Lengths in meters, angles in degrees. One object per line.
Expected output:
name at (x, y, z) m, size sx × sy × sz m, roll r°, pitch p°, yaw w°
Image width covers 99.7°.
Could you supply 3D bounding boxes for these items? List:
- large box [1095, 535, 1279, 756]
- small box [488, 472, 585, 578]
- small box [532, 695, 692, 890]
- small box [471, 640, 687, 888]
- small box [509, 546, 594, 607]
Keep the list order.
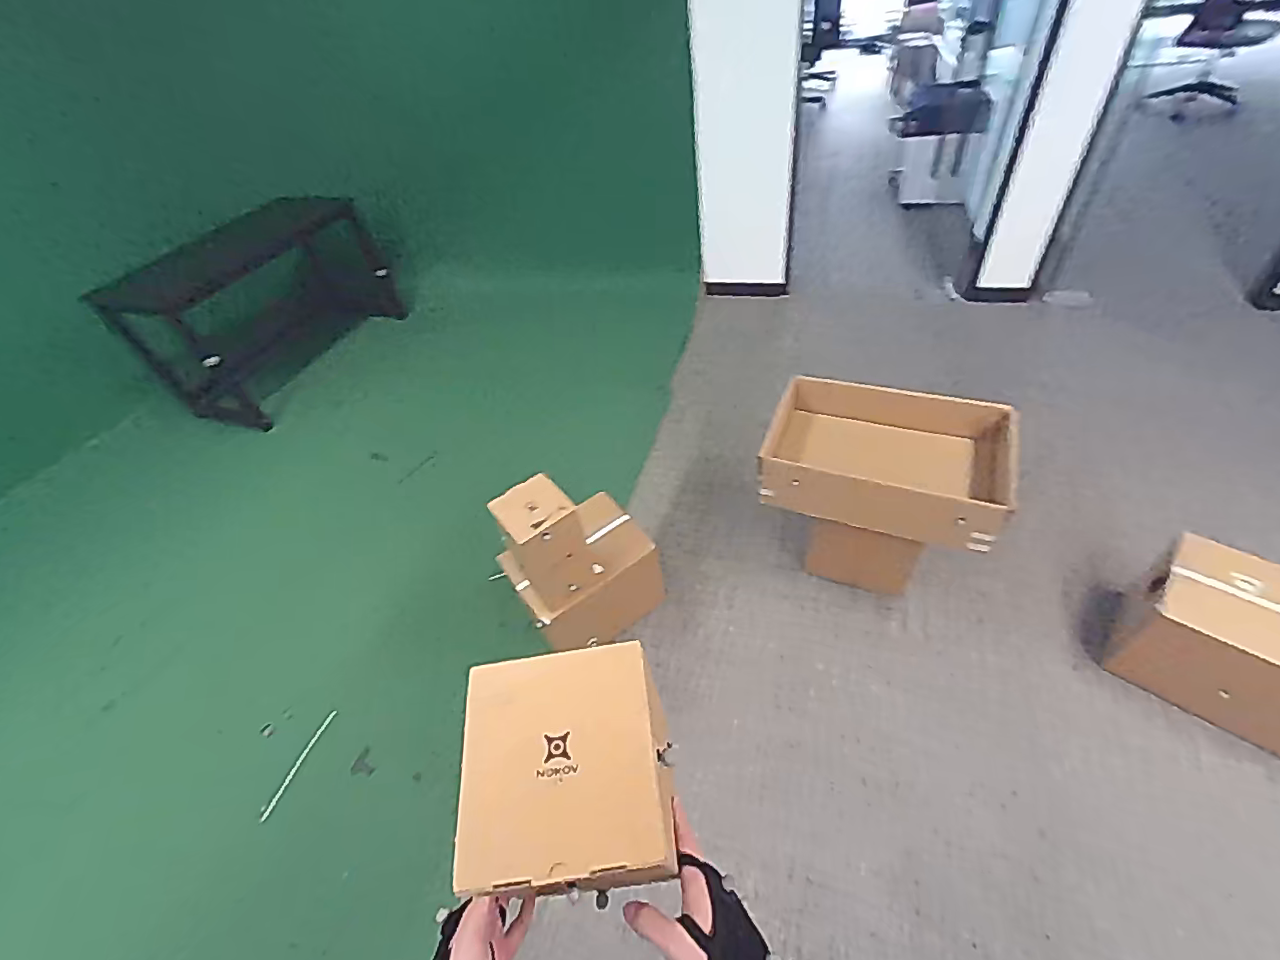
large box at (1.509, 0.418, 1.388) m, size 0.408 × 0.320 × 0.320 m, roll 28°, pitch 57°, yaw 32°
small box at (-0.264, 0.118, 1.399) m, size 0.168 × 0.176 × 0.179 m, roll -33°, pitch 51°, yaw -21°
small box at (-0.030, 0.377, 0.648) m, size 0.168 × 0.176 × 0.179 m, roll -7°, pitch 53°, yaw 2°
small box at (-0.048, 0.277, 0.522) m, size 0.168 × 0.176 × 0.179 m, roll -8°, pitch 53°, yaw 1°
small box at (-0.252, 0.224, 1.524) m, size 0.168 × 0.176 × 0.179 m, roll -33°, pitch 52°, yaw -20°
